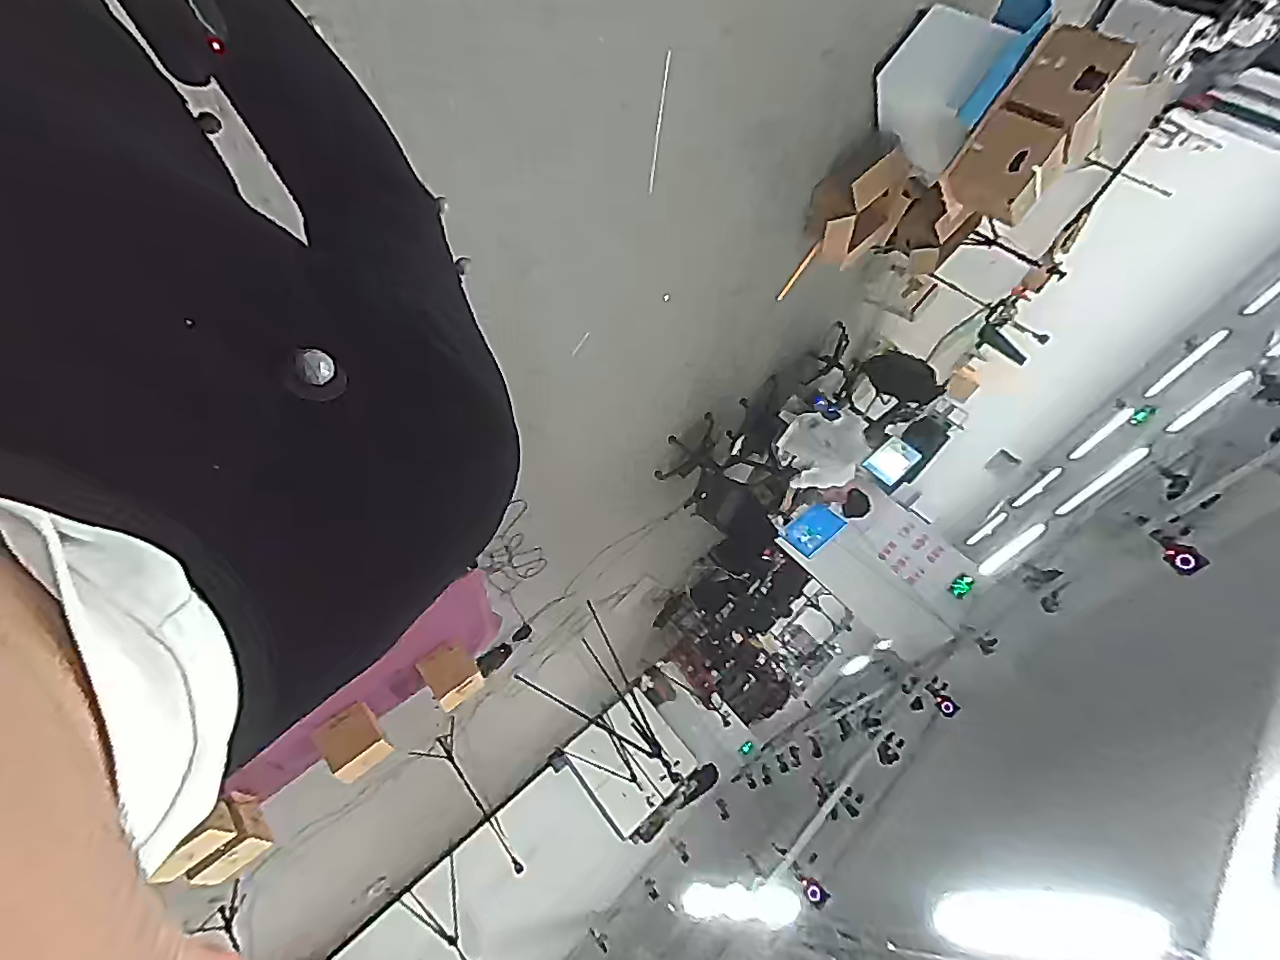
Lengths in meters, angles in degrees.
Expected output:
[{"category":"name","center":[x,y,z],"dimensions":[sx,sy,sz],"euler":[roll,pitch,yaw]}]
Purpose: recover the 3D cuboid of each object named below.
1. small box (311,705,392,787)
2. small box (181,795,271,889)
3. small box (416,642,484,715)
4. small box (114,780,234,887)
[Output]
[{"category":"small box","center":[-0.967,0.891,1.818],"dimensions":[0.168,0.176,0.179],"euler":[-33,153,-30]},{"category":"small box","center":[-1.264,1.089,1.632],"dimensions":[0.168,0.176,0.179],"euler":[-33,154,-29]},{"category":"small box","center":[-0.701,0.726,1.992],"dimensions":[0.168,0.176,0.179],"euler":[-32,154,-28]},{"category":"small box","center":[-1.225,0.930,1.427],"dimensions":[0.168,0.176,0.179],"euler":[-33,155,-31]}]
